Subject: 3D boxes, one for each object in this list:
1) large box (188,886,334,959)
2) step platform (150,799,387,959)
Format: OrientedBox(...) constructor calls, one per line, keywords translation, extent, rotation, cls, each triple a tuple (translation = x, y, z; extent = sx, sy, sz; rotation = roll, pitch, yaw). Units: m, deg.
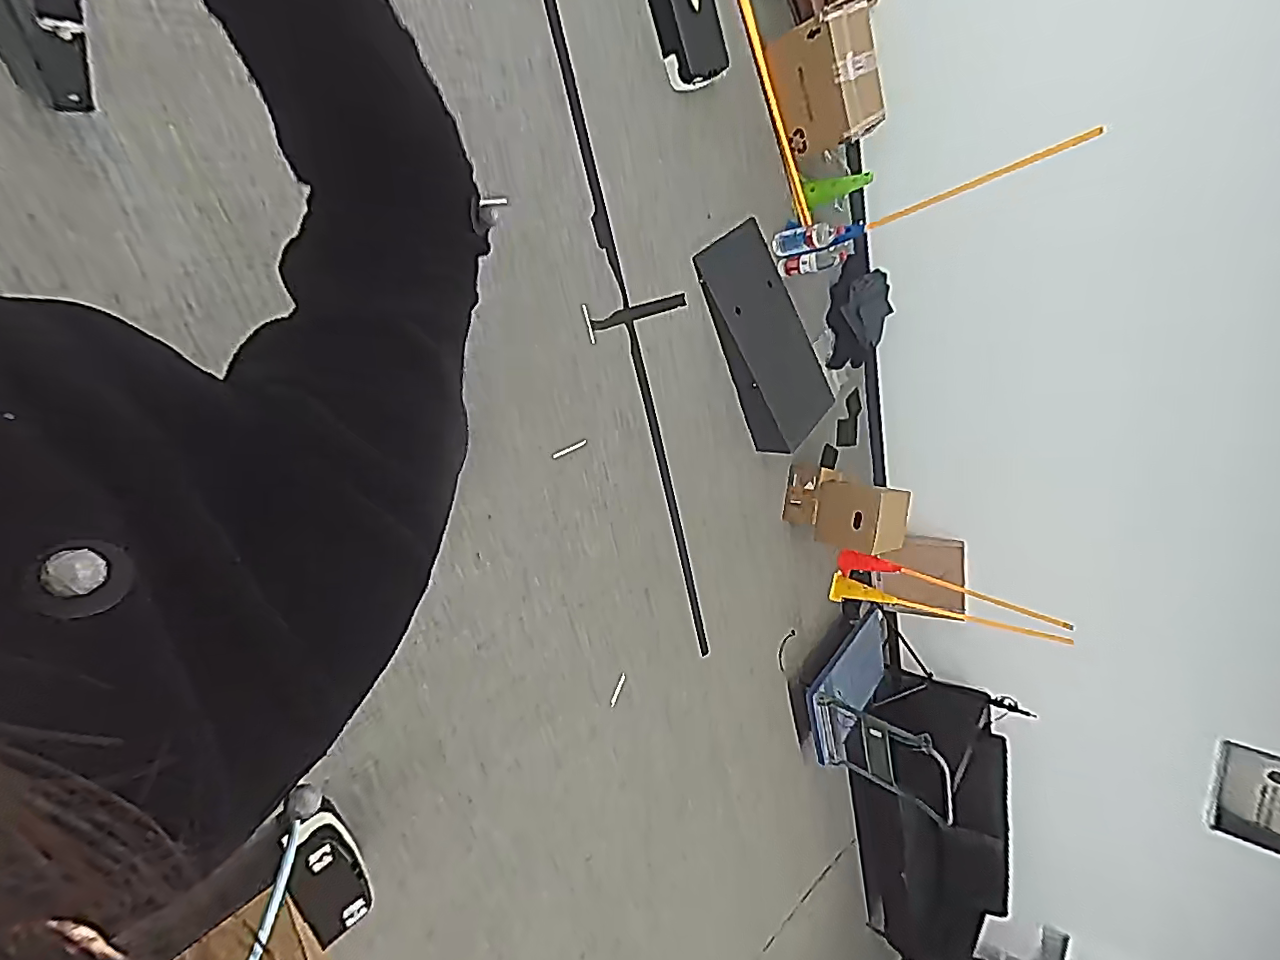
OrientedBox(translation=(-0.797, 1.132, 1.035), extent=(0.408, 0.320, 0.320), rotation=(-30, 115, -39), cls="large box")
OrientedBox(translation=(-0.948, 1.075, 1.215), extent=(0.684, 0.204, 0.286), rotation=(-23, 111, -41), cls="step platform")
